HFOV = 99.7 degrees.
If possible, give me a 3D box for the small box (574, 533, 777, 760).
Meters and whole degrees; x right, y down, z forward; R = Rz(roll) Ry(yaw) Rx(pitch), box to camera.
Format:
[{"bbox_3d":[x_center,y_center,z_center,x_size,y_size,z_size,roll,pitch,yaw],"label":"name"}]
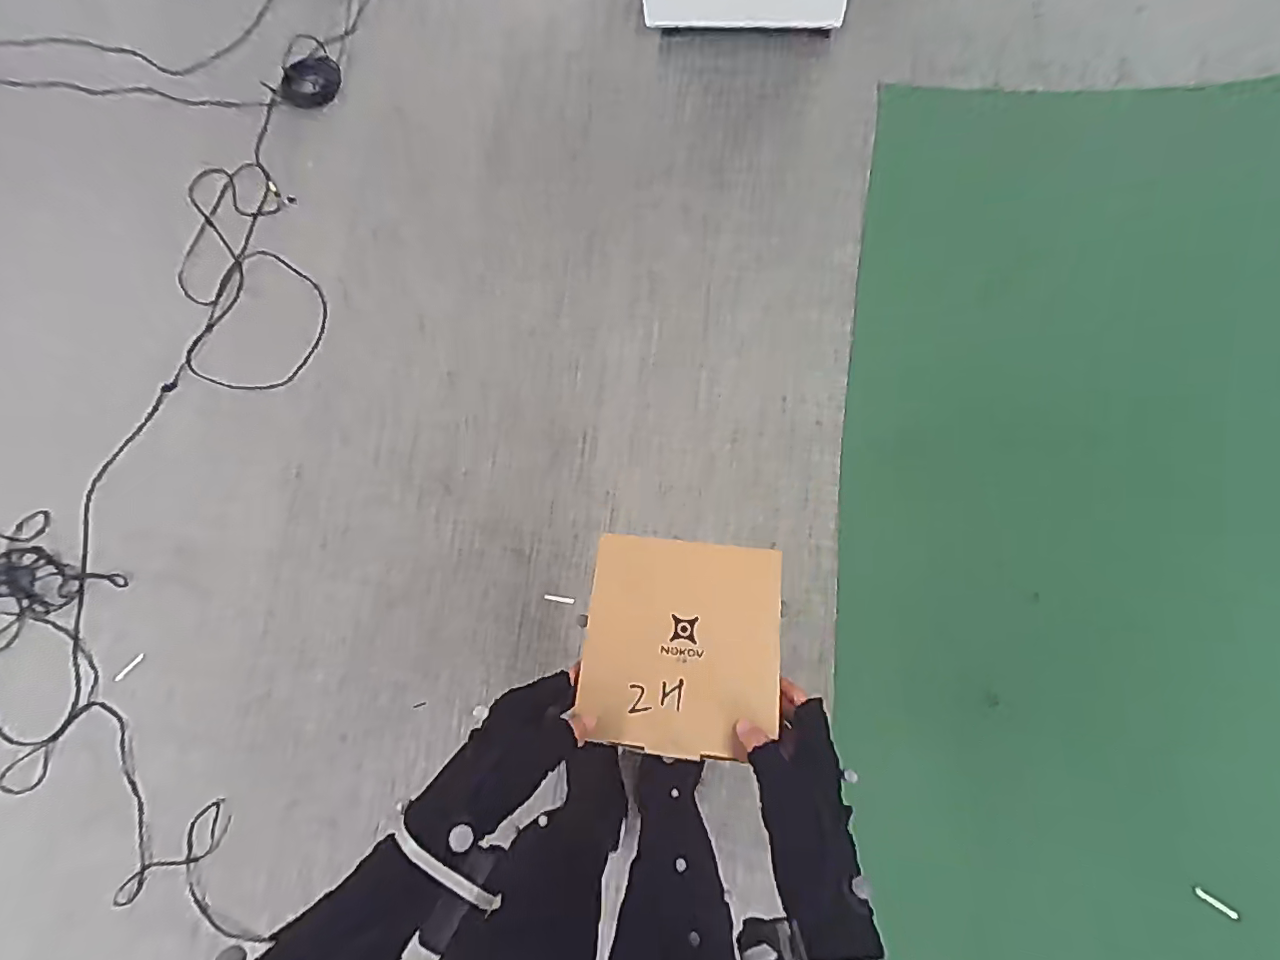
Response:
[{"bbox_3d":[0.039,0.169,0.548,0.168,0.176,0.179,6,68,5],"label":"small box"}]
